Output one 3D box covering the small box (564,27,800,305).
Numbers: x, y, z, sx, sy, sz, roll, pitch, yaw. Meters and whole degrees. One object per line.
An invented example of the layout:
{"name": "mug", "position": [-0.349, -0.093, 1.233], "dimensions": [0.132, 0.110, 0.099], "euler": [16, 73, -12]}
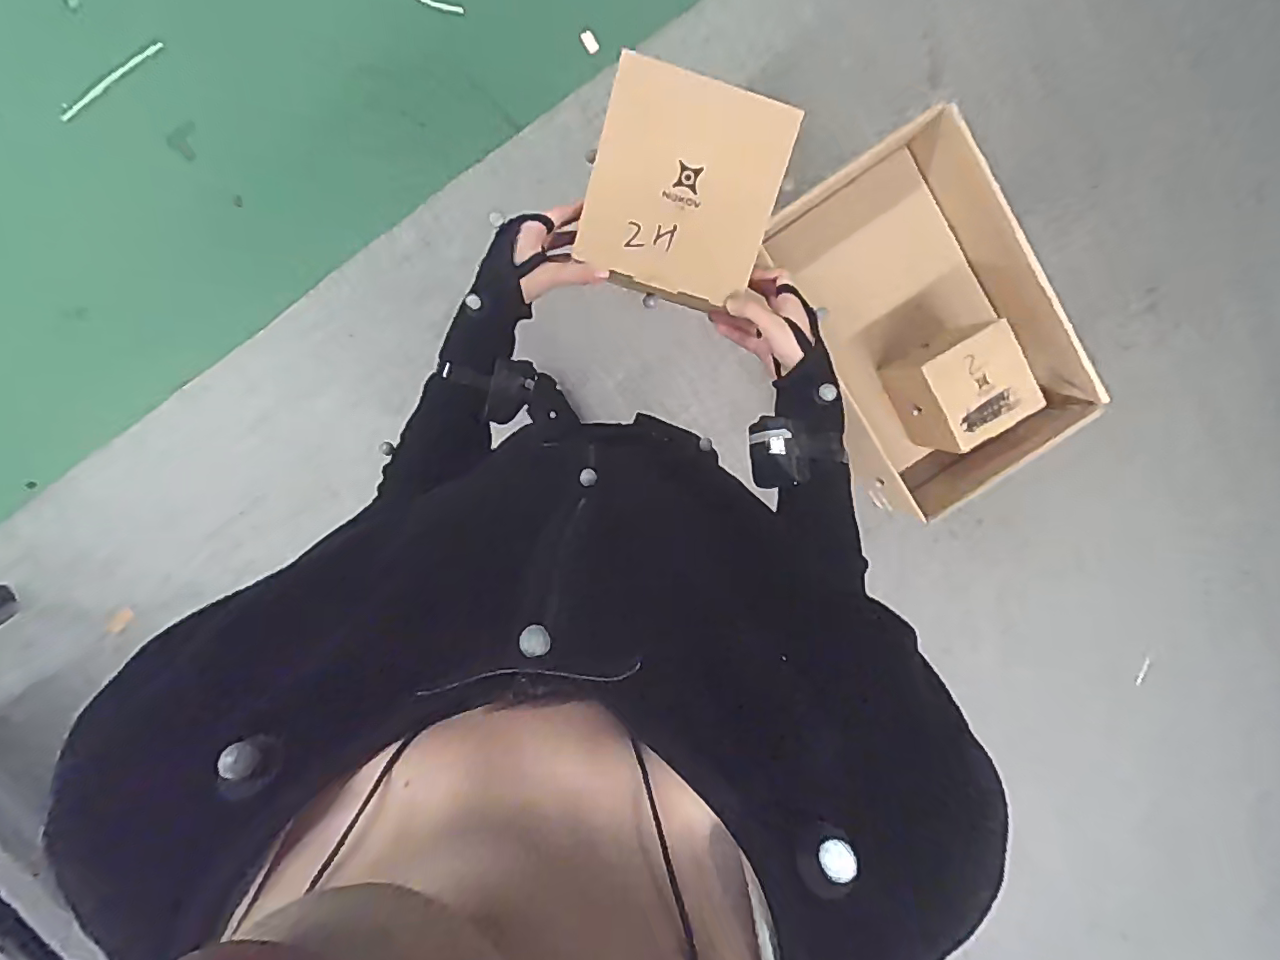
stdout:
{"name": "small box", "position": [0.032, -0.291, 0.549], "dimensions": [0.168, 0.176, 0.179], "euler": [18, 105, -5]}
